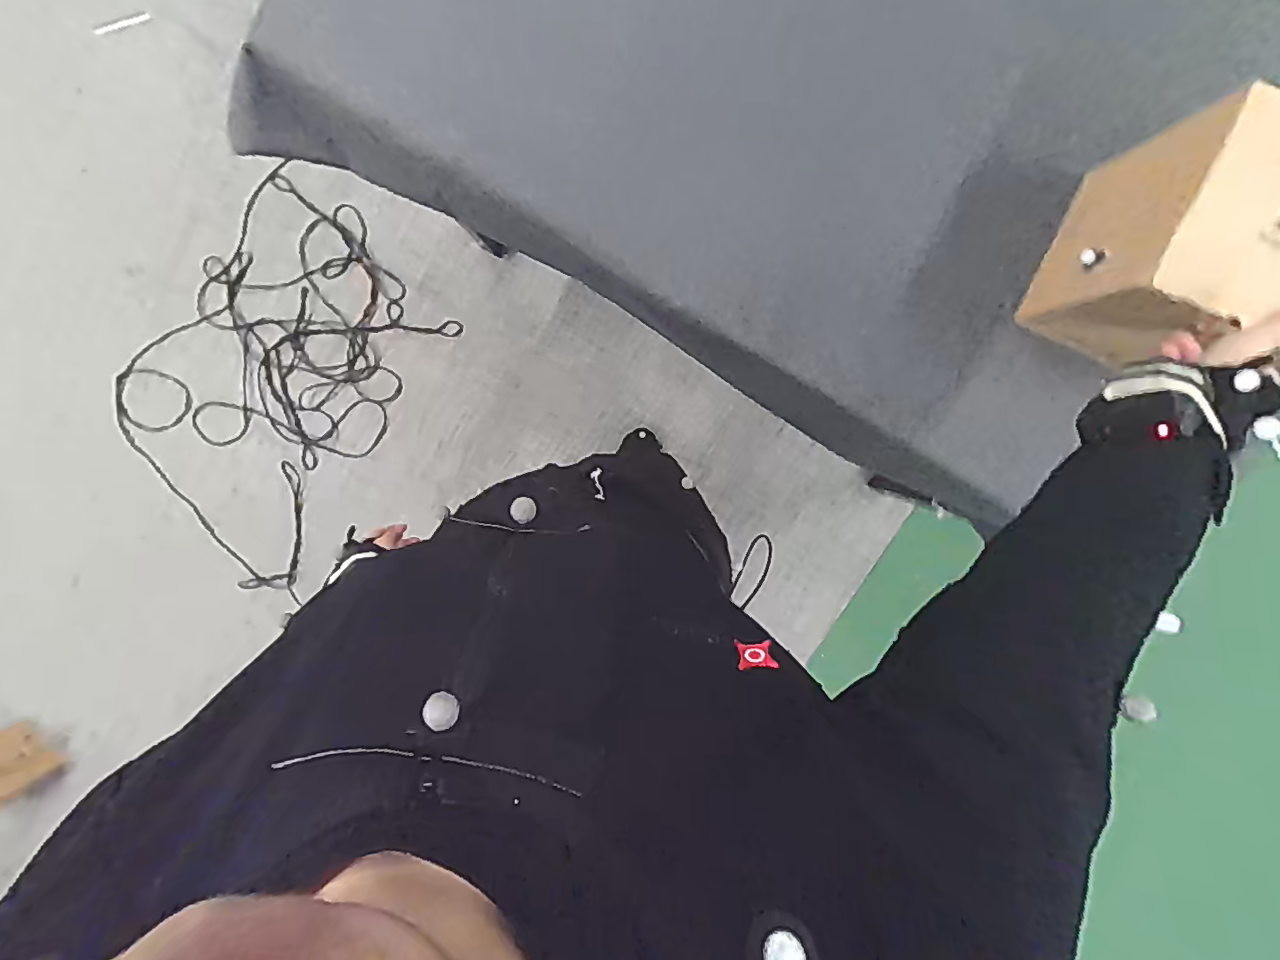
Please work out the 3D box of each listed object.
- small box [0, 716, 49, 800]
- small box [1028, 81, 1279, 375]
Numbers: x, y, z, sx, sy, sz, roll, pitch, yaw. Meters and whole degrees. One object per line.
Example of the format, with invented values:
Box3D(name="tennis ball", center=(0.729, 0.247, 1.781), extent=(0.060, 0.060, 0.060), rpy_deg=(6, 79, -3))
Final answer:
Box3D(name="small box", center=(-1.688, 0.745, 1.368), extent=(0.179, 0.176, 0.168), rpy_deg=(-38, 95, 4))
Box3D(name="small box", center=(0.526, -0.213, 0.518), extent=(0.168, 0.176, 0.179), rpy_deg=(24, 95, -3))
